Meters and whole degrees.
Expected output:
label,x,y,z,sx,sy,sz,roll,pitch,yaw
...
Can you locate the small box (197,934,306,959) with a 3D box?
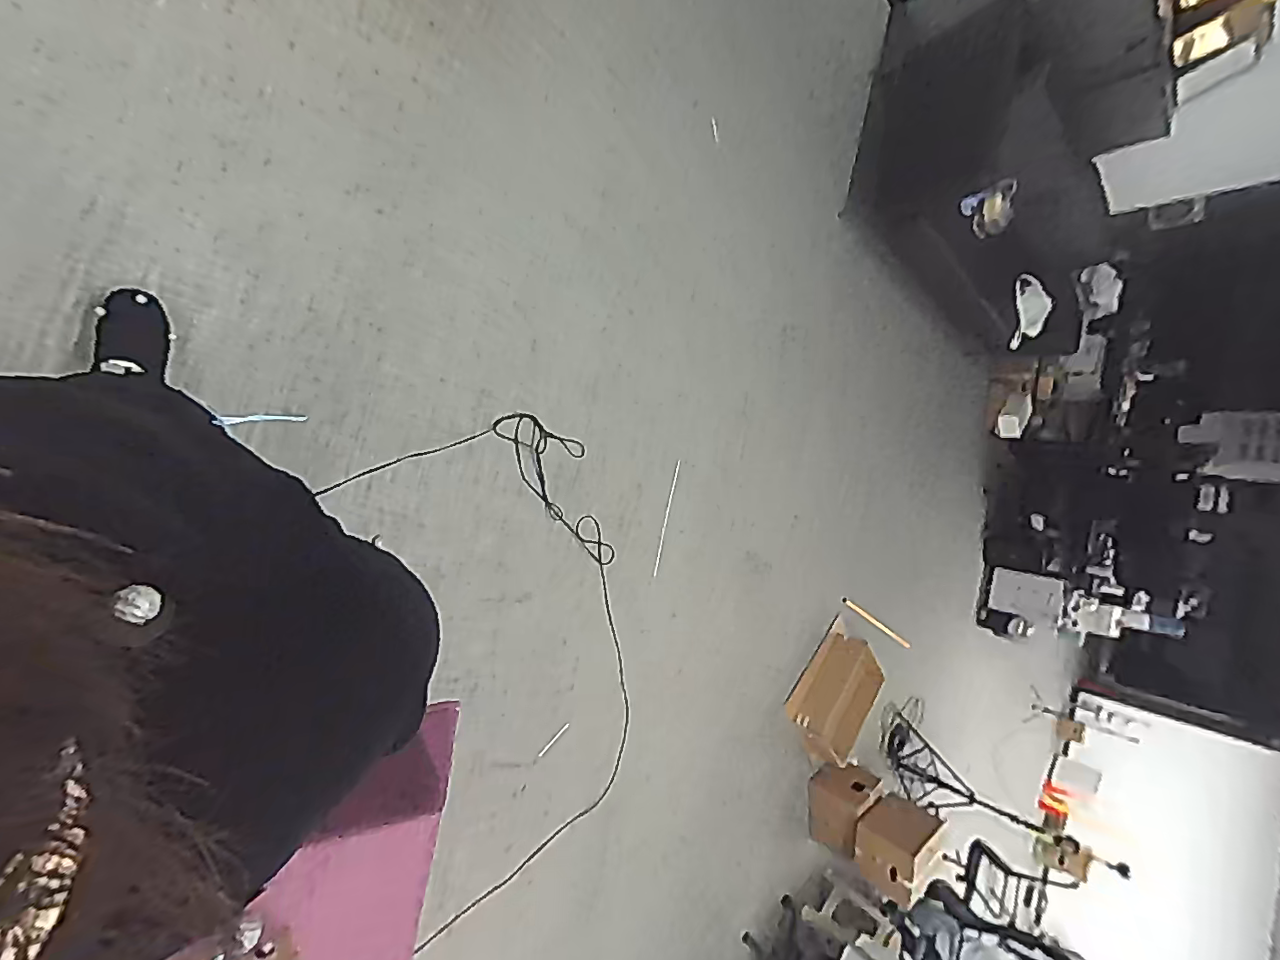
label,x,y,z,sx,sy,sz,roll,pitch,yaw
small box,-0.488,0.683,0.625,0.168,0.176,0.179,11,90,-42
